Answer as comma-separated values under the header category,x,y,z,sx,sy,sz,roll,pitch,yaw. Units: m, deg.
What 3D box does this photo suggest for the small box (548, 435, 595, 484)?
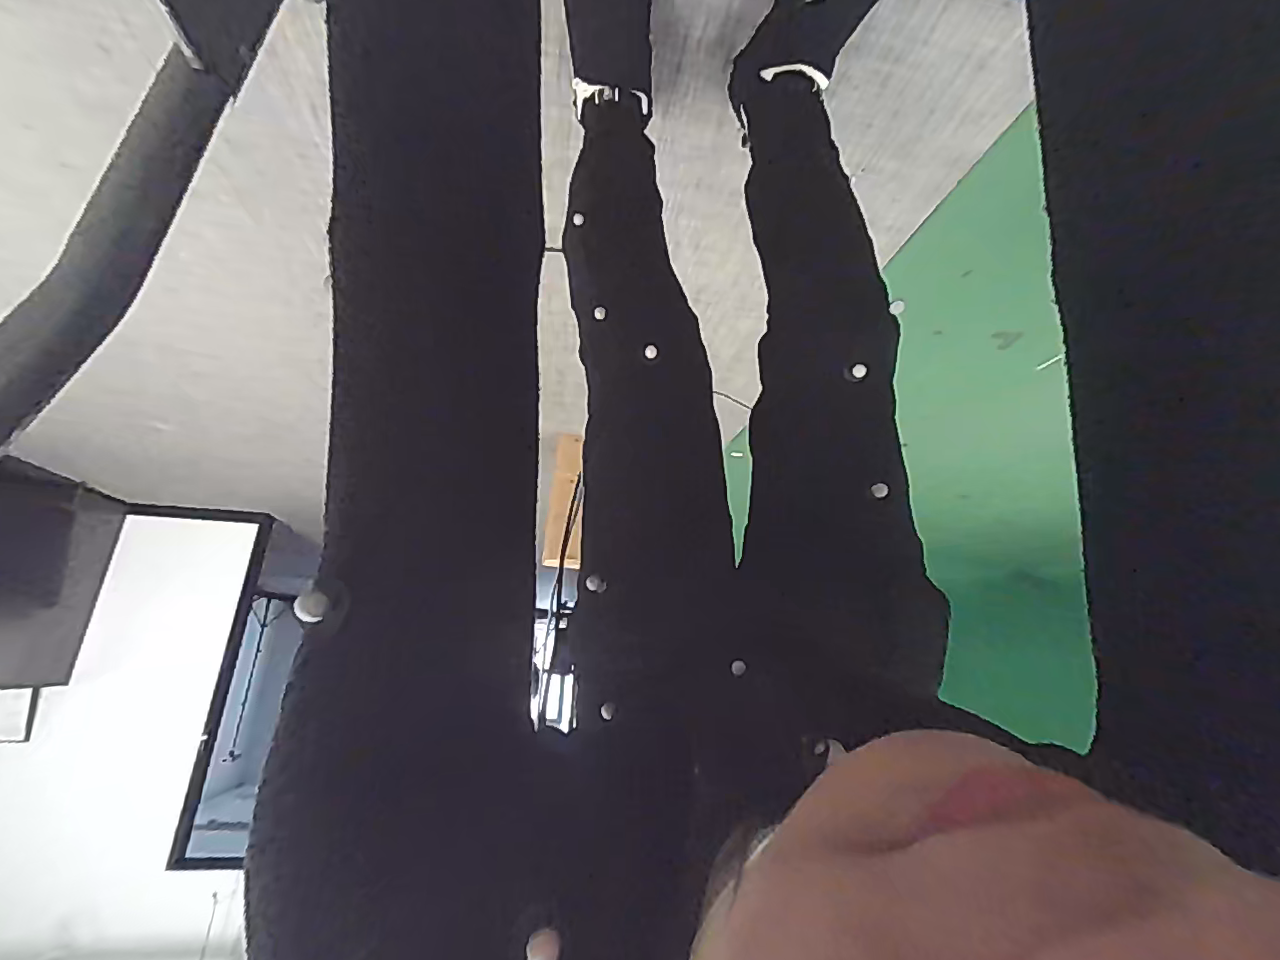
category,x,y,z,sx,sy,sz,roll,pitch,yaw
small box,-0.277,-0.068,2.172,0.168,0.176,0.179,8,161,-14

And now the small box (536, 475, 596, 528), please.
category,x,y,z,sx,sy,sz,roll,pitch,yaw
small box,-0.287,0.084,2.140,0.168,0.176,0.179,-16,154,40
